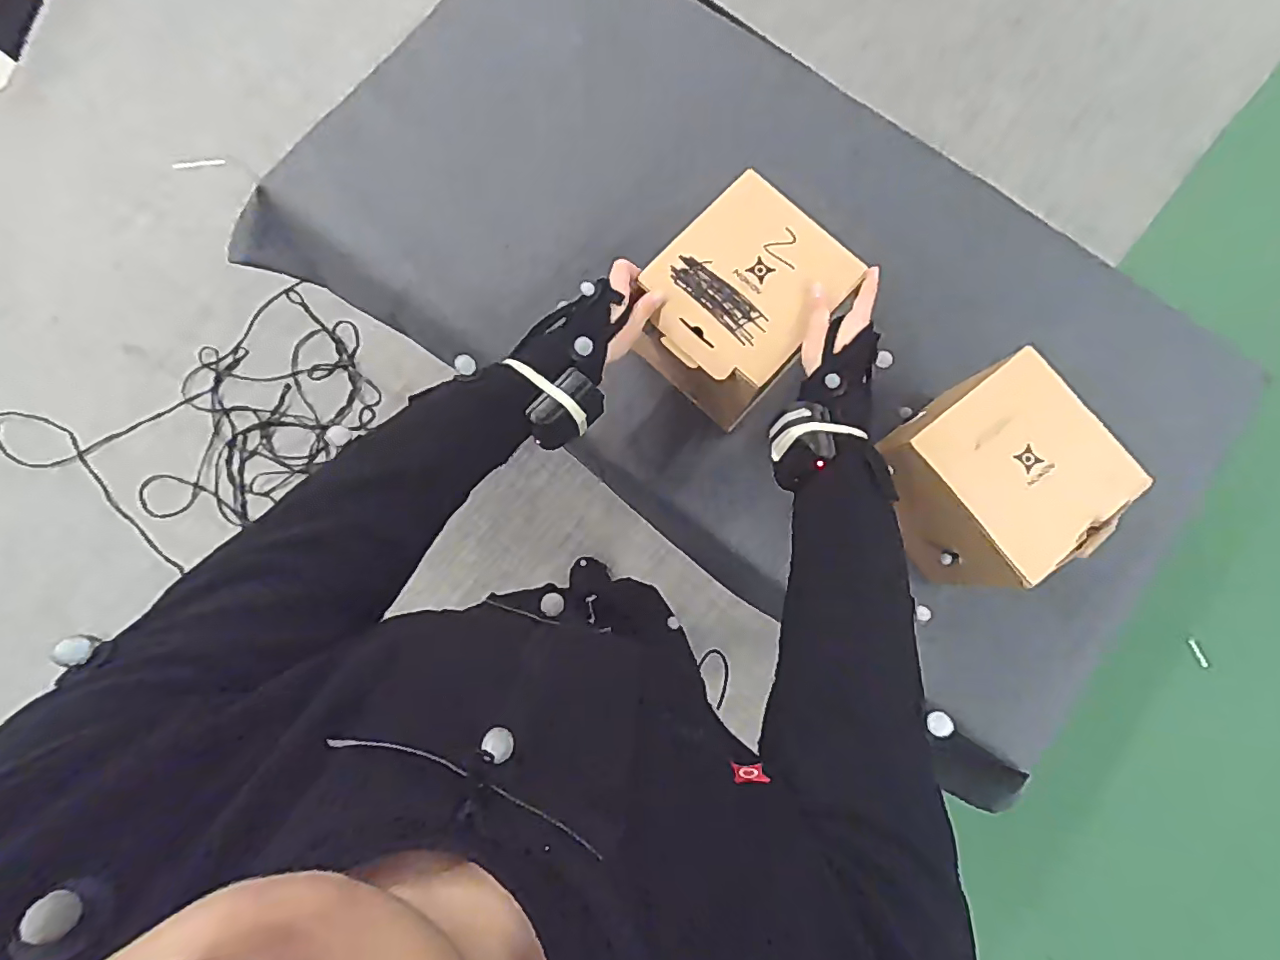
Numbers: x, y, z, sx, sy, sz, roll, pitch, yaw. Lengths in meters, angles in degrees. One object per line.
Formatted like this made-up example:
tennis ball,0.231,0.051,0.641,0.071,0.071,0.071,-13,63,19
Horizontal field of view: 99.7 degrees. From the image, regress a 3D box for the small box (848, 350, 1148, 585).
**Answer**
small box,0.372,-0.004,0.597,0.168,0.176,0.179,-37,82,-8
